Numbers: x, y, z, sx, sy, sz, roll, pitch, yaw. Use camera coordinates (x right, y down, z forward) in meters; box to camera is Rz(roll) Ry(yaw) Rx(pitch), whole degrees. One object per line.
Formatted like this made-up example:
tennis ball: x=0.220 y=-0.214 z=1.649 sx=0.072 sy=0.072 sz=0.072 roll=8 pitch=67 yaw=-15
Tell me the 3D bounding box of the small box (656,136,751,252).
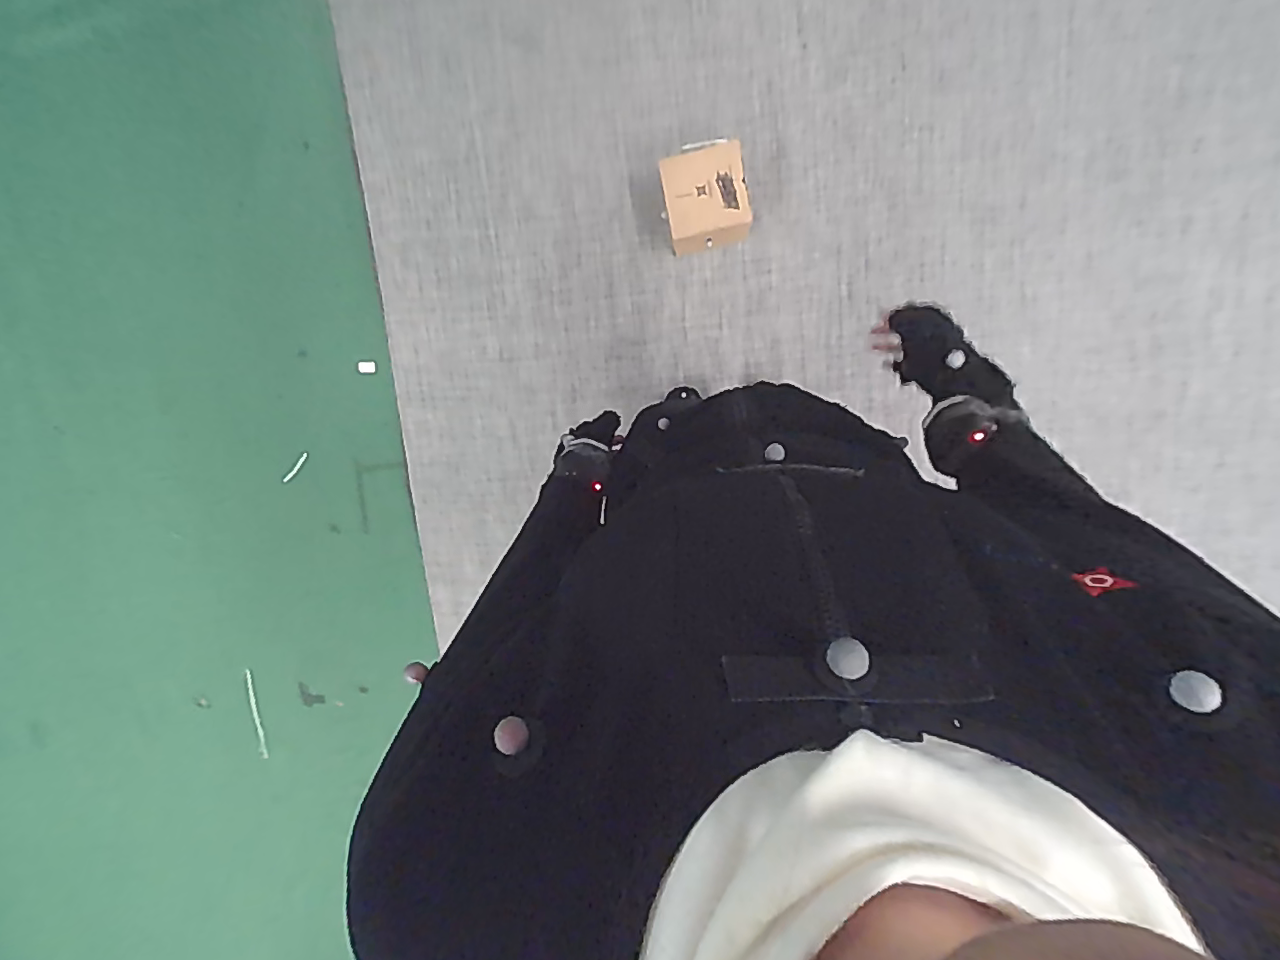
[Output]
small box: x=0.142 y=-0.642 z=1.236 sx=0.179 sy=0.176 sz=0.168 roll=-14 pitch=99 yaw=8
